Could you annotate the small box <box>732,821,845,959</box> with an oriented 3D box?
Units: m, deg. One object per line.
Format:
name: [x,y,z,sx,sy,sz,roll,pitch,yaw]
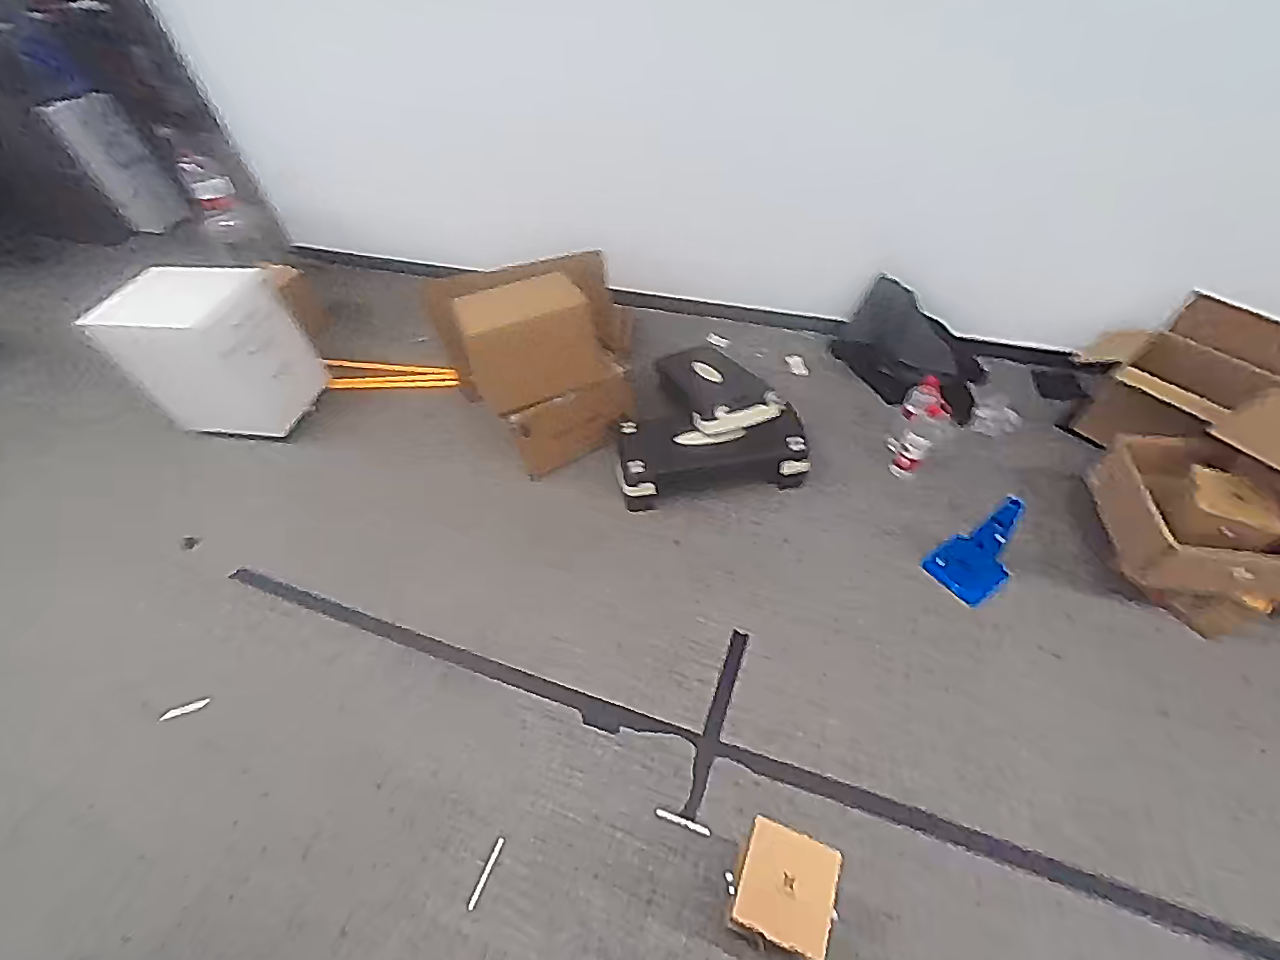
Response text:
small box: [0.284,0.807,1.058,0.168,0.176,0.179,17,55,18]

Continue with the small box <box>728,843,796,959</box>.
small box: [0.296,0.920,1.176,0.179,0.176,0.168,12,53,16]
